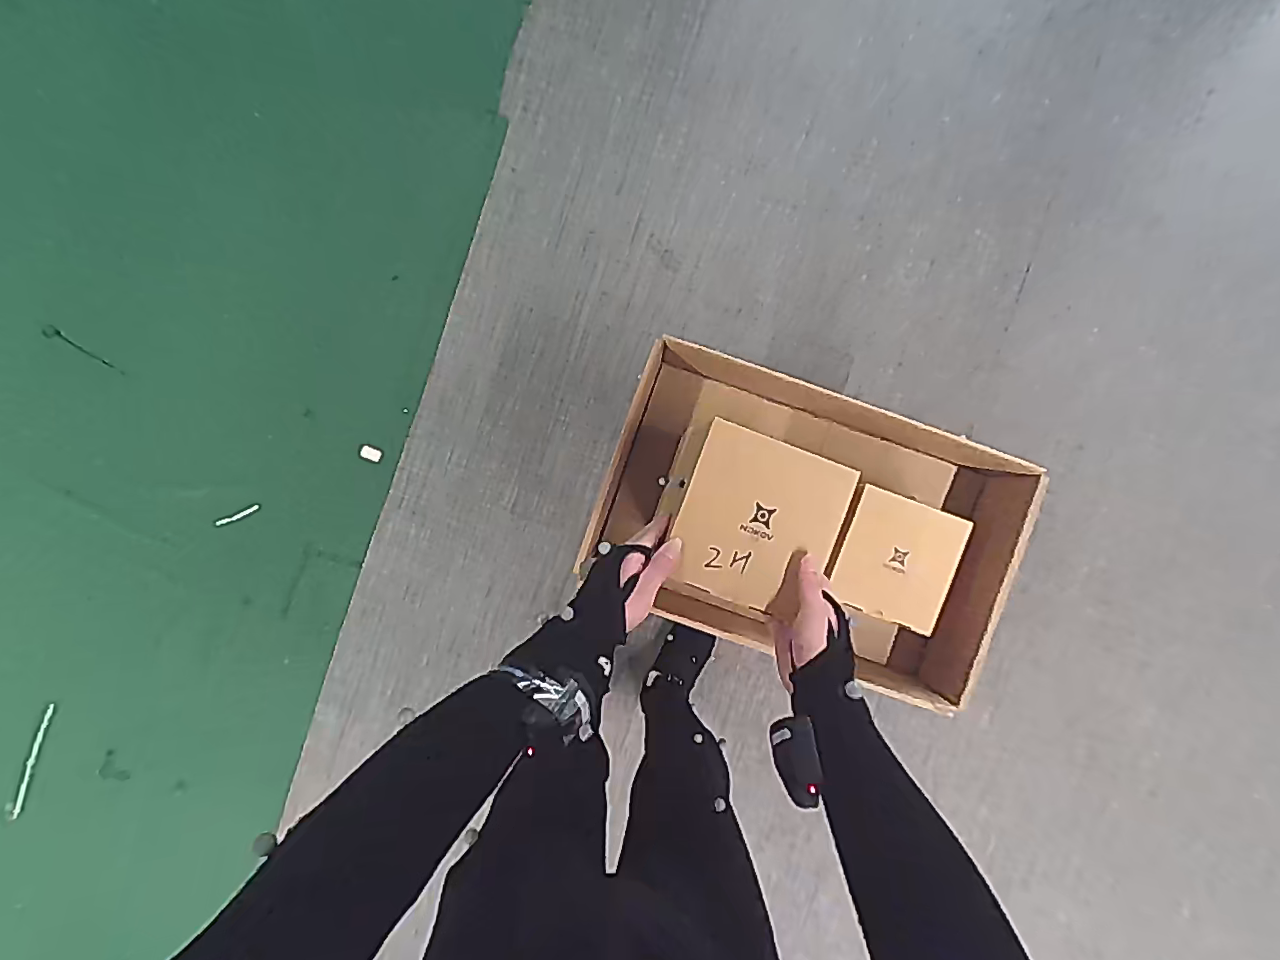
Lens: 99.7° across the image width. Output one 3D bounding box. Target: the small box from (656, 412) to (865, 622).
[{"bbox_3d":[0.124,0.036,0.634,0.168,0.176,0.179,21,91,-3],"label":"small box"}]
